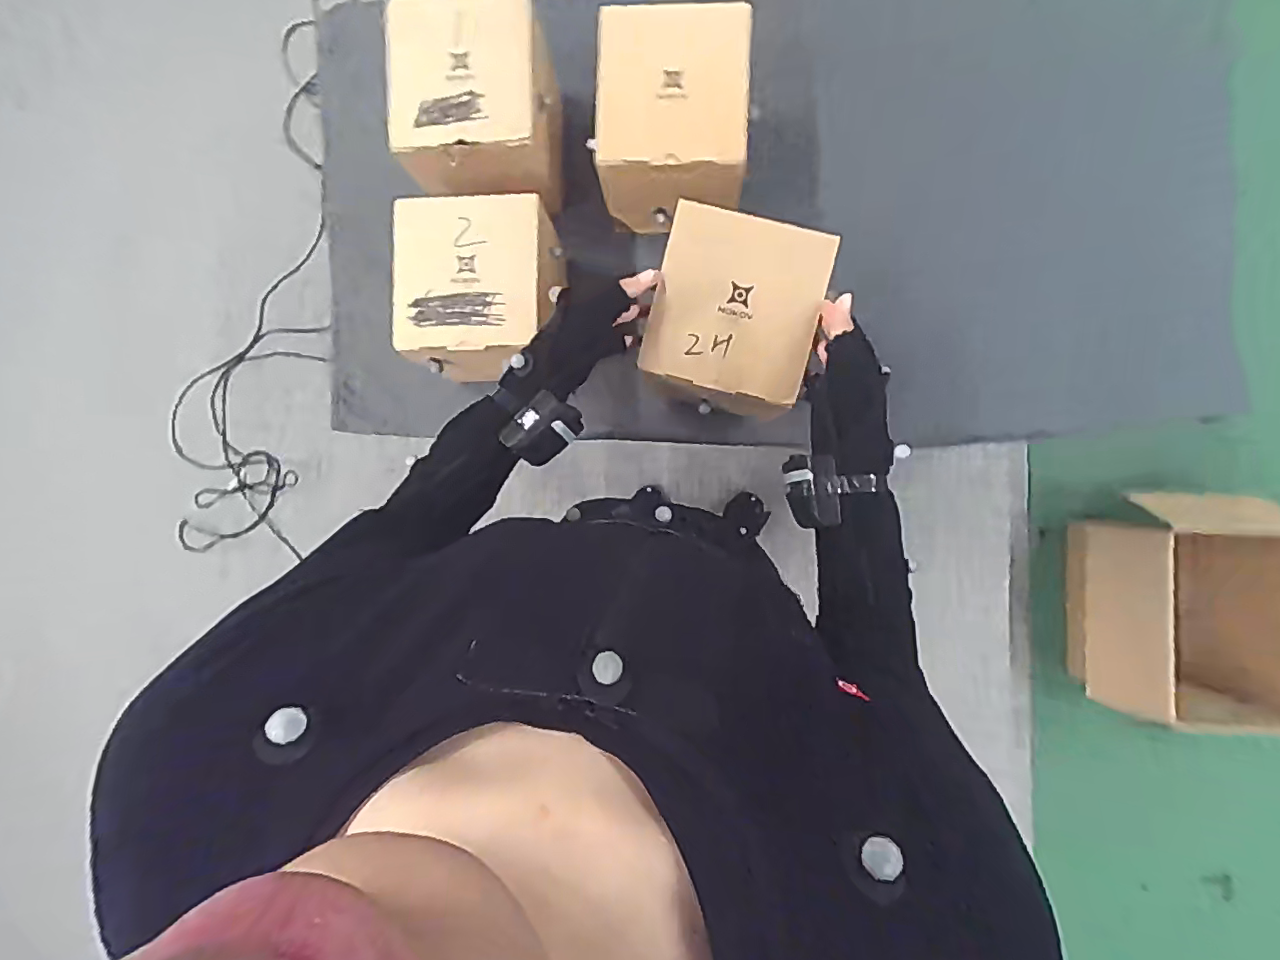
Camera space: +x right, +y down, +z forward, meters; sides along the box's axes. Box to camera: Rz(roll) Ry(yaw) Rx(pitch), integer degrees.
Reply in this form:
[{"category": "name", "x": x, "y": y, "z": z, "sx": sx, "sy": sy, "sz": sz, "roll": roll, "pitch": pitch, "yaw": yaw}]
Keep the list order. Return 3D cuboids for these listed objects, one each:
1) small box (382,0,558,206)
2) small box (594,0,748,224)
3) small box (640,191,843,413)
[{"category": "small box", "x": -0.201, "y": -0.467, "z": 0.683, "sx": 0.168, "sy": 0.176, "sz": 0.179, "roll": -2, "pitch": 90, "yaw": 3}, {"category": "small box", "x": 0.037, "y": -0.442, "z": 0.670, "sx": 0.168, "sy": 0.176, "sz": 0.179, "roll": 1, "pitch": 91, "yaw": 3}, {"category": "small box", "x": 0.103, "y": -0.185, "z": 0.614, "sx": 0.168, "sy": 0.176, "sz": 0.179, "roll": 16, "pitch": 94, "yaw": 3}]
